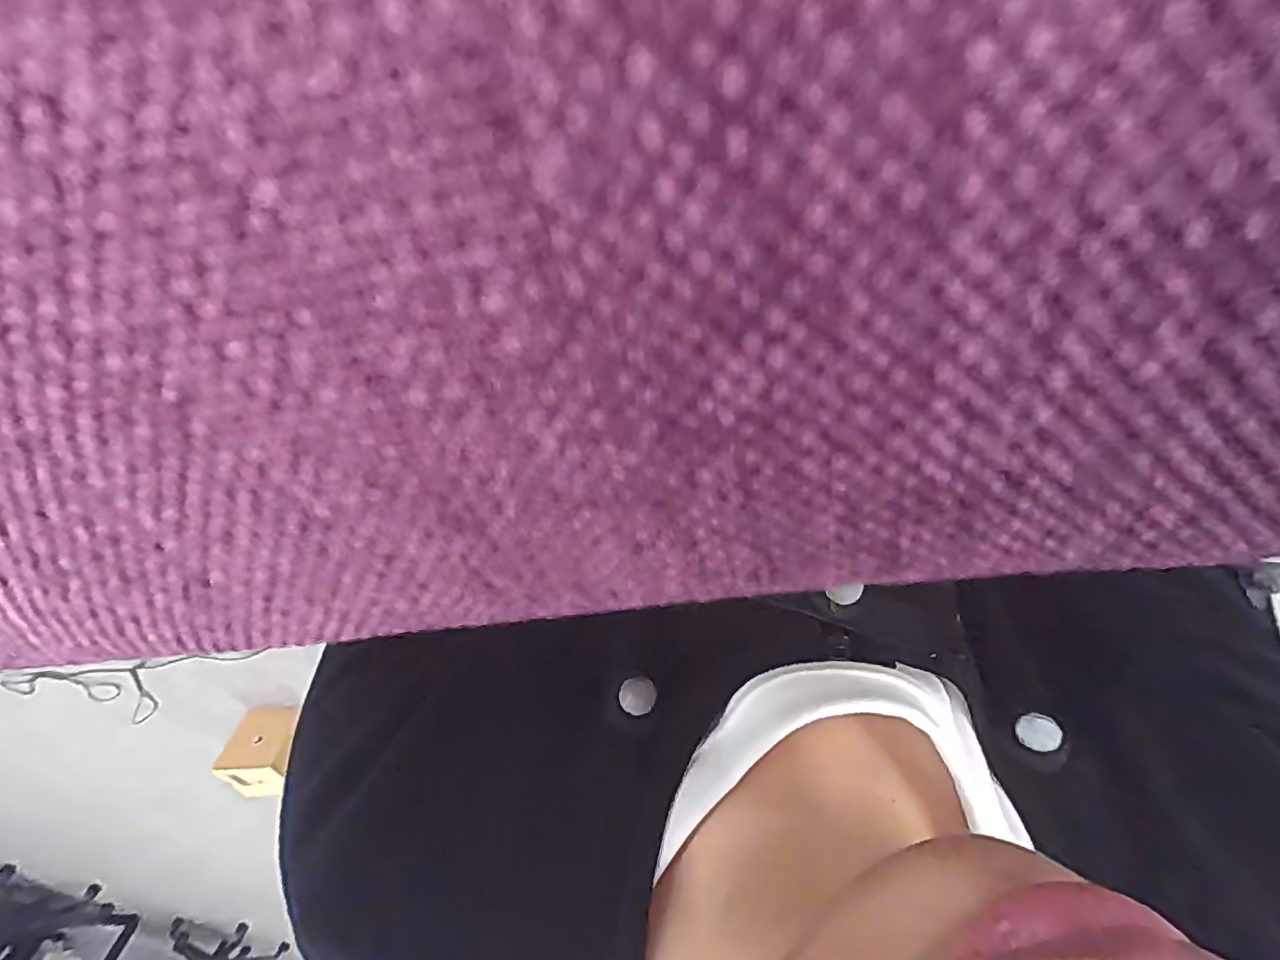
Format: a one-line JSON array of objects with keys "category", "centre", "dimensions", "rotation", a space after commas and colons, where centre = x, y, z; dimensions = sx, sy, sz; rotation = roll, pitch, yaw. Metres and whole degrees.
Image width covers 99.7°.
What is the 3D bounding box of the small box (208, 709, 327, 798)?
[{"category": "small box", "centre": [-1.018, 0.755, 1.496], "dimensions": [0.179, 0.176, 0.168], "rotation": [-6, 128, 6]}]
